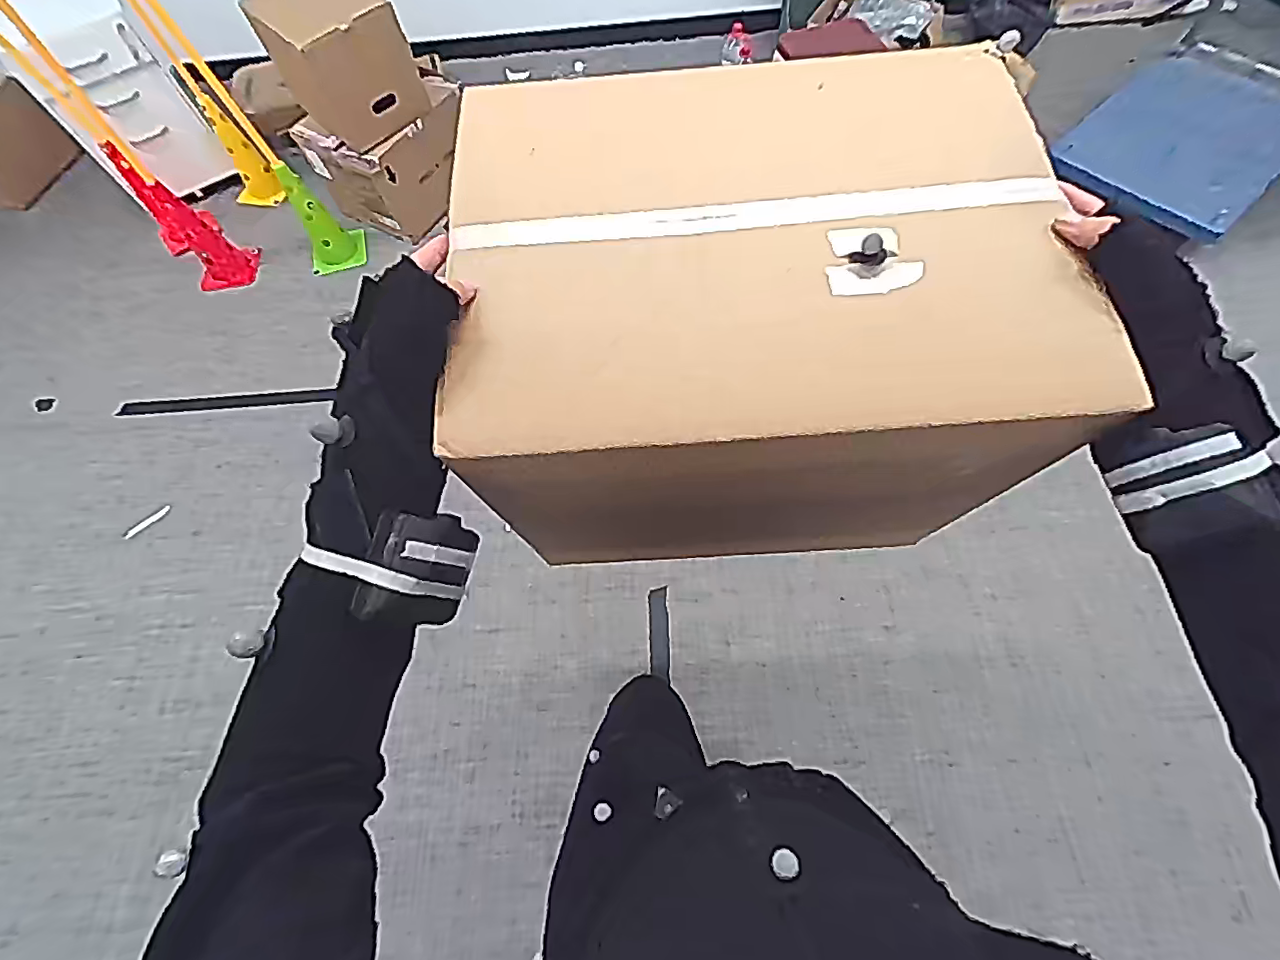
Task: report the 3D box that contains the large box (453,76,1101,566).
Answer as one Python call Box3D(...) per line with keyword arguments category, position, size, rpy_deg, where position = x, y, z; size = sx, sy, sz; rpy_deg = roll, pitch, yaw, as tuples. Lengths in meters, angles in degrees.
Box3D(category="large box", position=(0.077, -0.114, 0.520), size=(0.408, 0.320, 0.320), rpy_deg=(-4, 69, 1))
